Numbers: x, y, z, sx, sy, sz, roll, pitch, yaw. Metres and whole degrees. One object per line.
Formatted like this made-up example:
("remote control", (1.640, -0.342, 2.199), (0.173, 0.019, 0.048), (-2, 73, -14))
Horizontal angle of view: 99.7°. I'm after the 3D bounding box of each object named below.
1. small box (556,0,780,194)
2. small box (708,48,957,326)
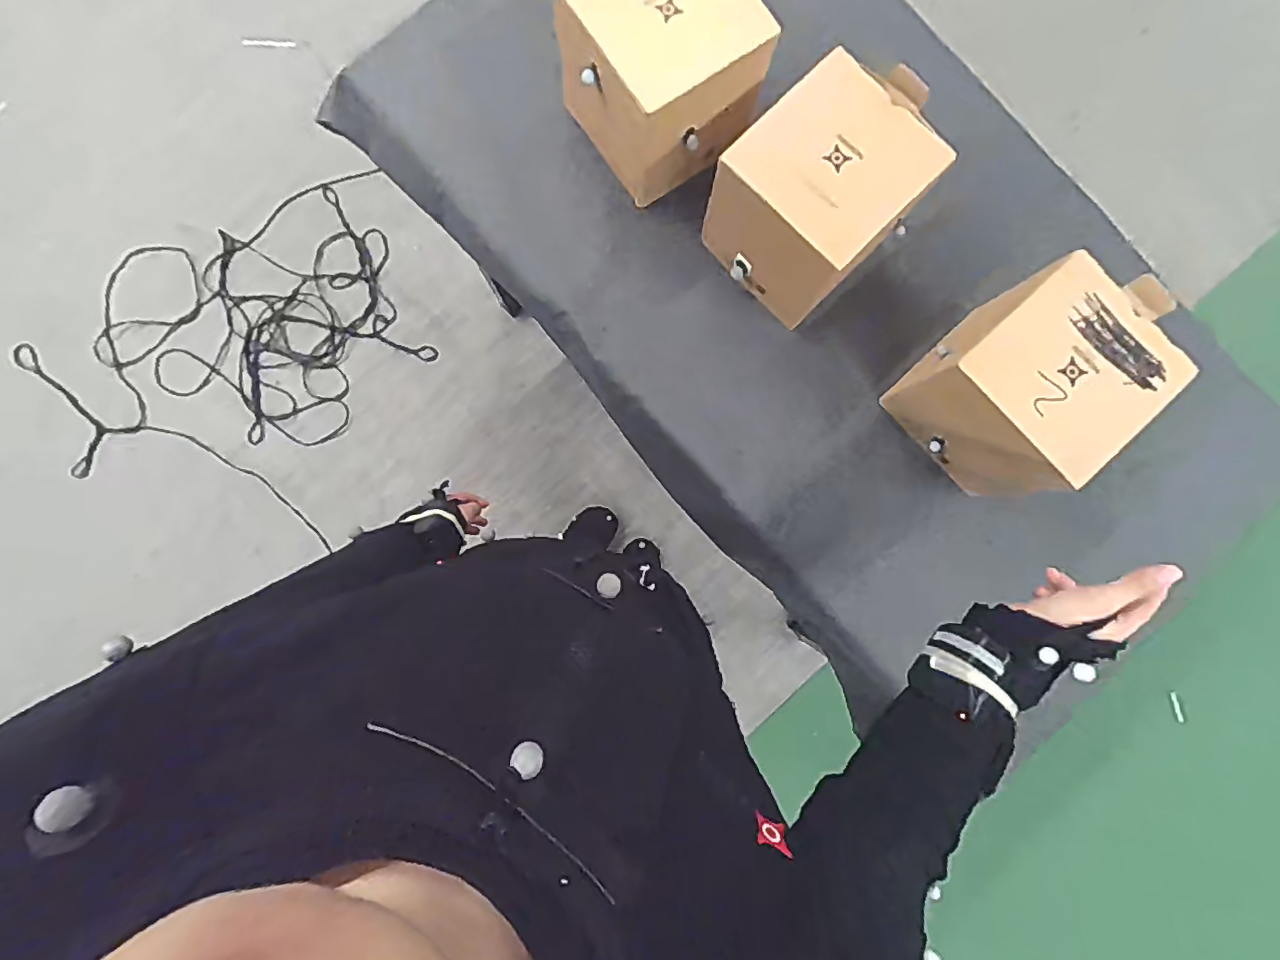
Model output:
("small box", (0.026, -0.466, 0.618), (0.168, 0.176, 0.179), (-35, 87, -4))
("small box", (0.197, -0.312, 0.612), (0.168, 0.176, 0.179), (44, 86, 3))
